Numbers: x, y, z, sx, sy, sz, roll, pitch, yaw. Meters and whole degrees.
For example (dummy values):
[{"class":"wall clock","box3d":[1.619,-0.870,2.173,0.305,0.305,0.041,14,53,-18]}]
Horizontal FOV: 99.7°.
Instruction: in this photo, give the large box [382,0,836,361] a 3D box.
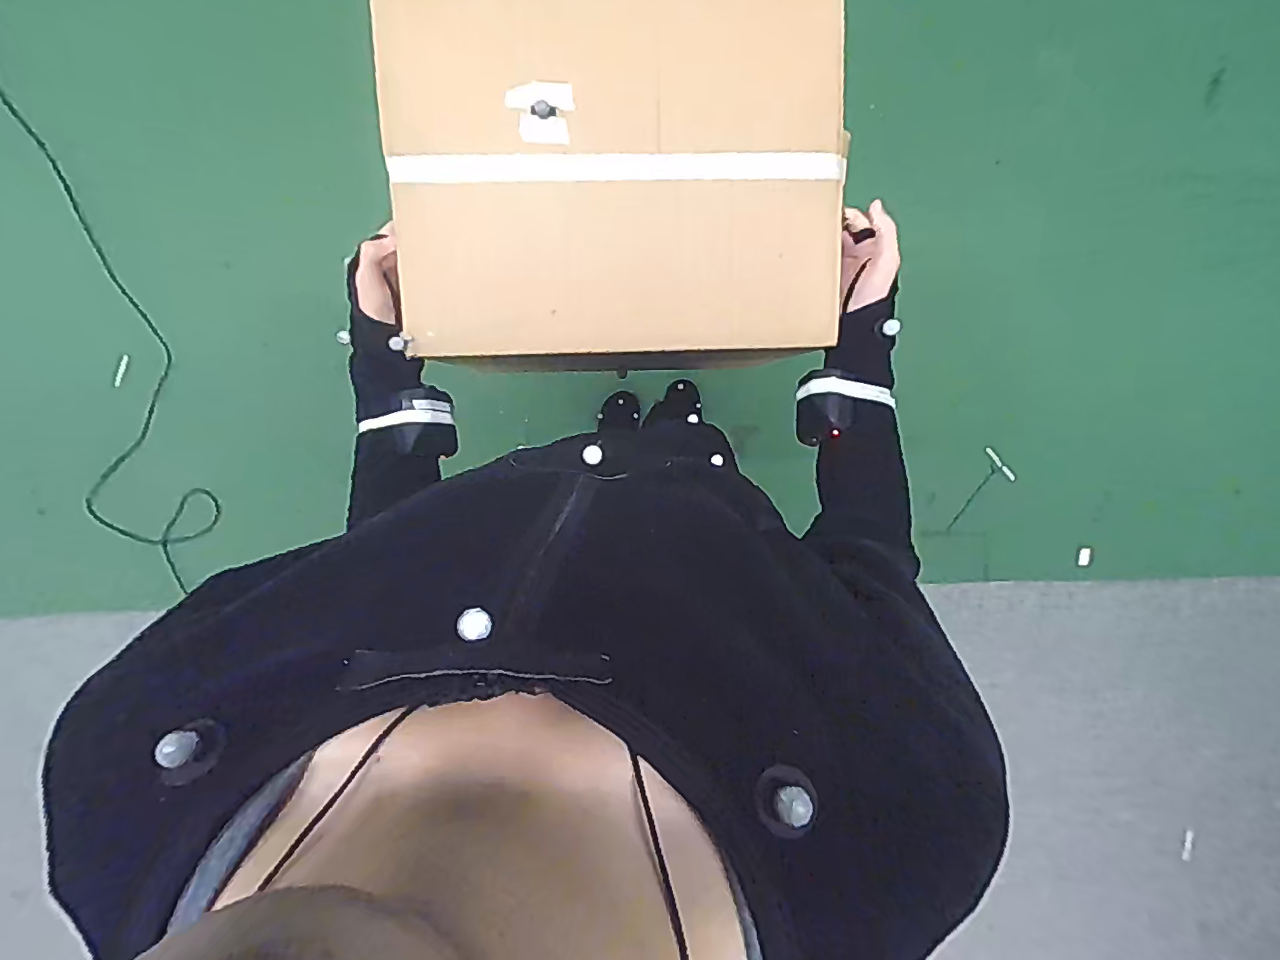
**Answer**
[{"class":"large box","box3d":[-0.026,-0.306,0.639,0.408,0.320,0.320,-2,99,-3]}]
